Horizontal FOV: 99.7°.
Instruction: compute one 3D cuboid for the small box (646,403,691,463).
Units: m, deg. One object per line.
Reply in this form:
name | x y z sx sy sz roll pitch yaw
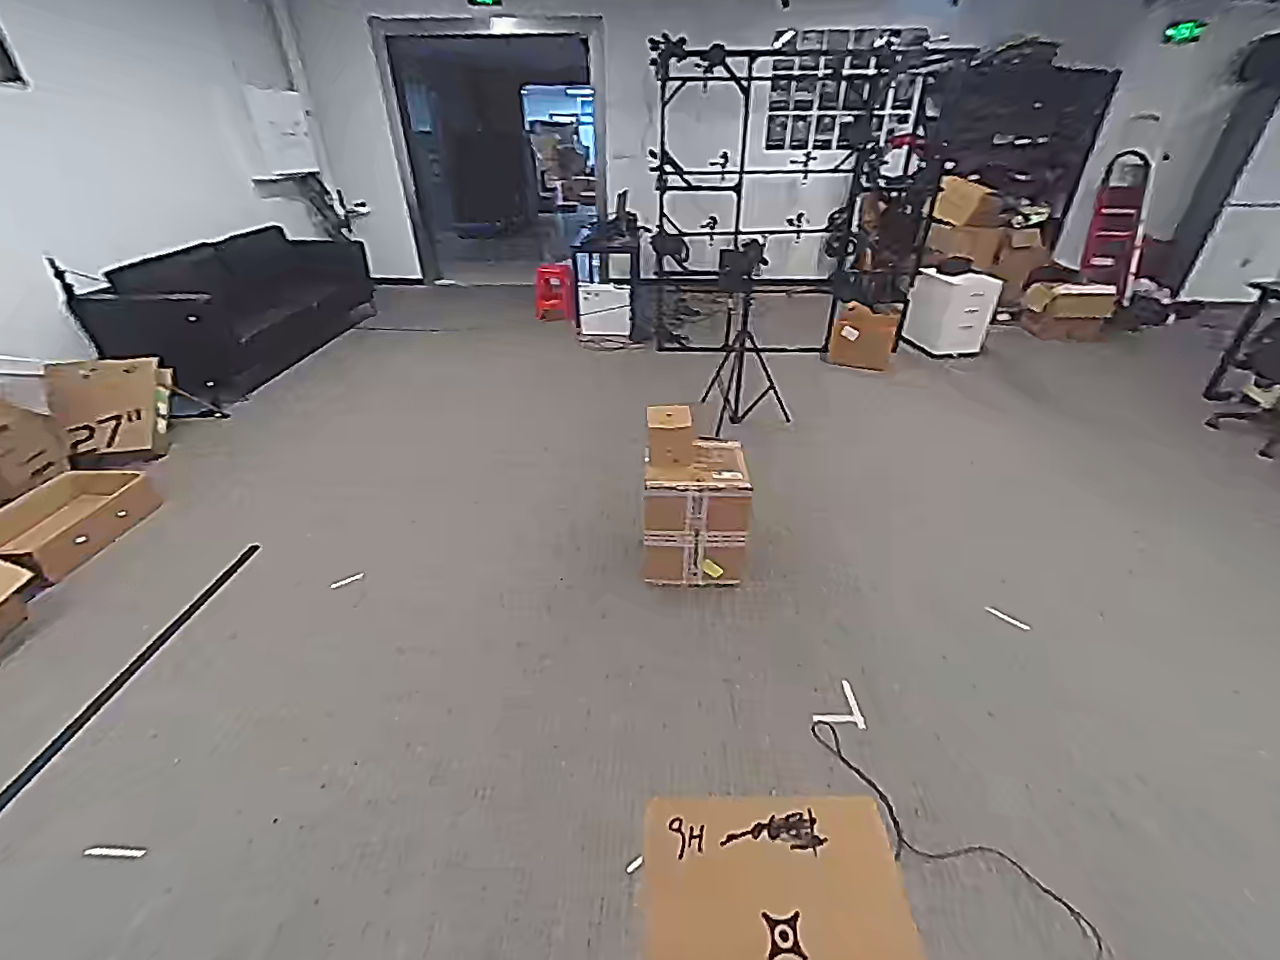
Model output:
small box | 0.106 -0.181 2.084 0.168 0.176 0.179 -2 35 2
